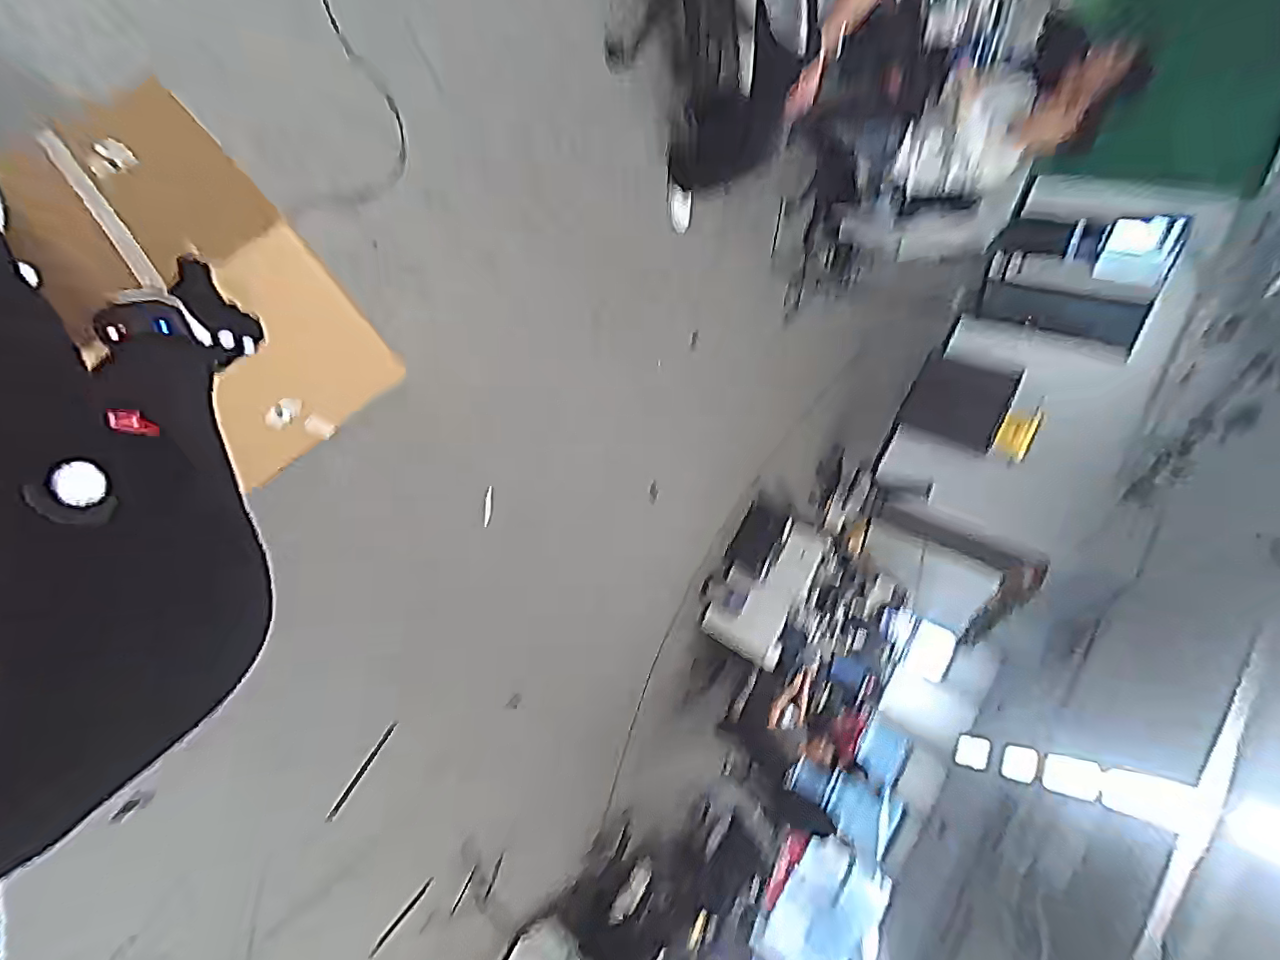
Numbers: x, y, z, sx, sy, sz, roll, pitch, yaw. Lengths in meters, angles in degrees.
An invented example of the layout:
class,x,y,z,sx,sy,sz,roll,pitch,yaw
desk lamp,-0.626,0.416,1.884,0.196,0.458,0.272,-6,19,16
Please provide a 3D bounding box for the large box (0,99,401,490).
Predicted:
class,x,y,z,sx,sy,sz,roll,pitch,yaw
large box,-0.649,-0.260,0.805,0.320,0.408,0.320,-40,159,-13
